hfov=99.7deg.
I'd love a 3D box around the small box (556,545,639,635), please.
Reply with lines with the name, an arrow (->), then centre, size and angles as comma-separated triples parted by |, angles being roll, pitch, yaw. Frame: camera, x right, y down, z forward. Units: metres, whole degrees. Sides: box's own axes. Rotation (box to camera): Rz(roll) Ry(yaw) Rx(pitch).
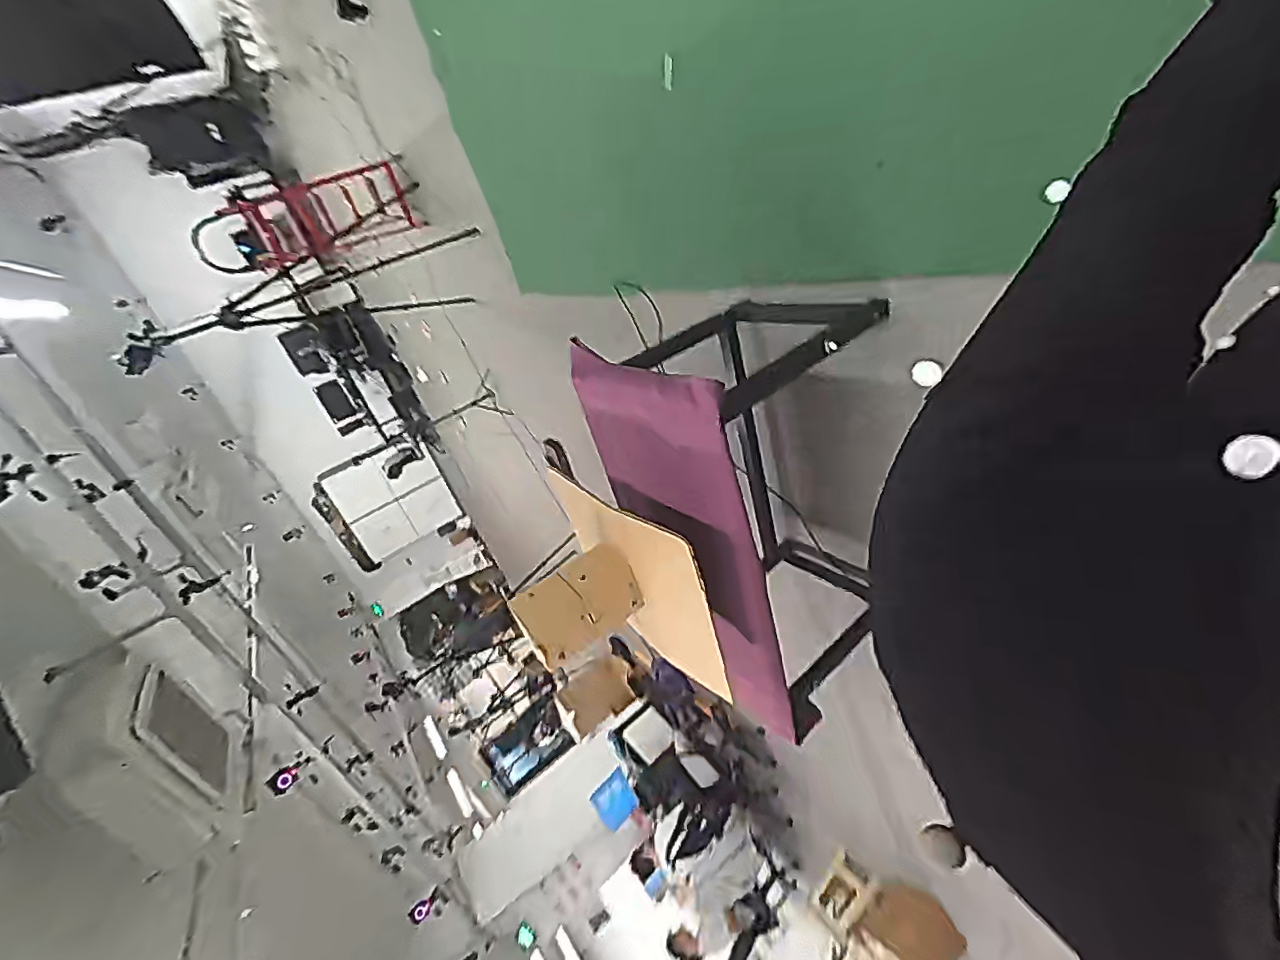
small box -> -0.119, 0.319, 1.615 | 0.179, 0.176, 0.168 | 29, 143, 52
